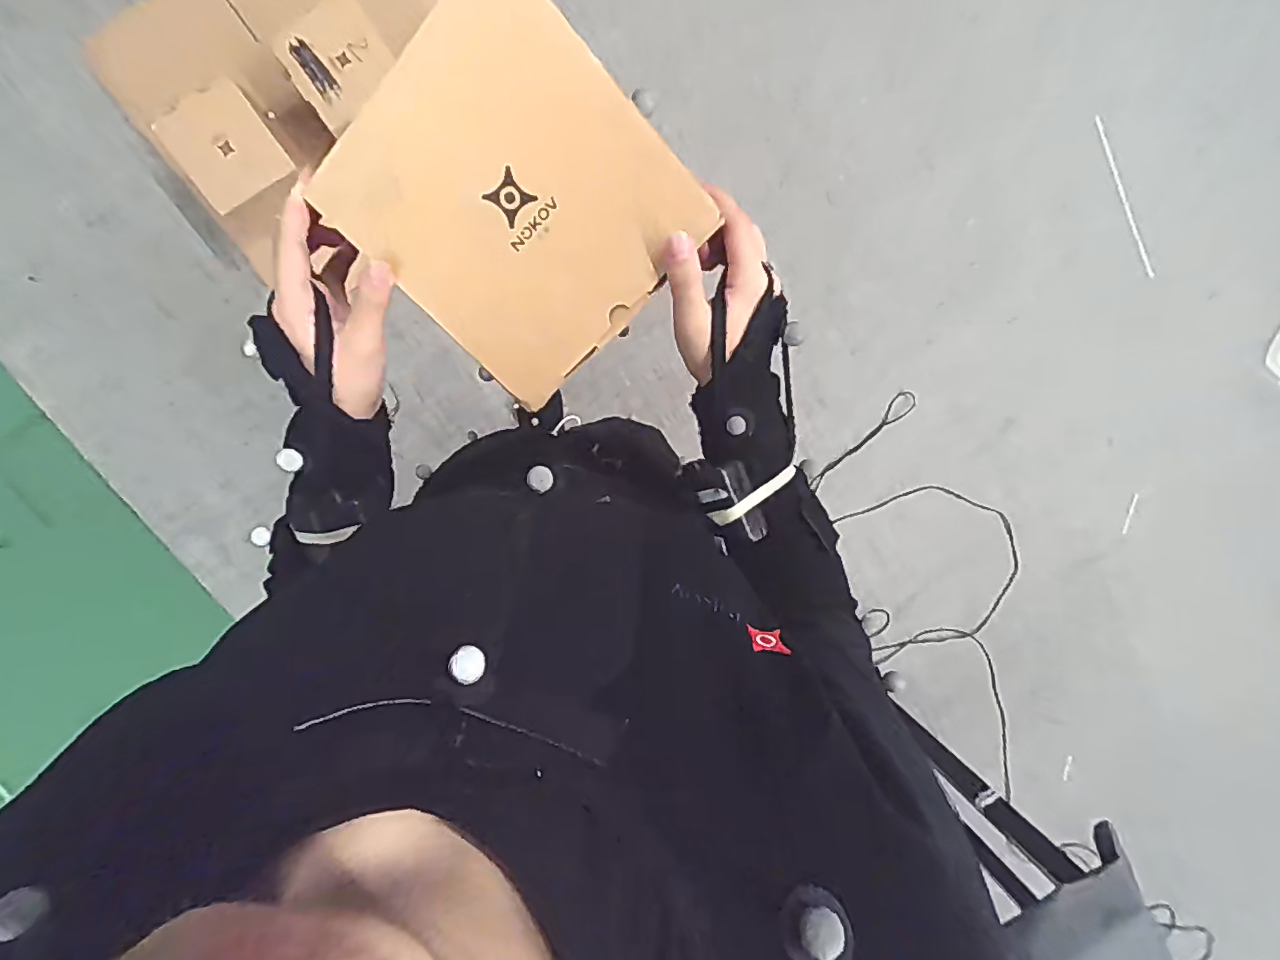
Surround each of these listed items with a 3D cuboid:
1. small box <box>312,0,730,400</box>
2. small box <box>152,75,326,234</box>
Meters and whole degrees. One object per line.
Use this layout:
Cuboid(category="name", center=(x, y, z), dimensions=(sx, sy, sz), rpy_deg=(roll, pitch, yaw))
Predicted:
Cuboid(category="small box", center=(-0.066, -0.185, 0.376), dimensions=(0.168, 0.176, 0.179), rpy_deg=(-41, 106, 14))
Cuboid(category="small box", center=(-0.747, -0.608, 1.035), dimensions=(0.168, 0.176, 0.179), rpy_deg=(-35, 105, -2))
